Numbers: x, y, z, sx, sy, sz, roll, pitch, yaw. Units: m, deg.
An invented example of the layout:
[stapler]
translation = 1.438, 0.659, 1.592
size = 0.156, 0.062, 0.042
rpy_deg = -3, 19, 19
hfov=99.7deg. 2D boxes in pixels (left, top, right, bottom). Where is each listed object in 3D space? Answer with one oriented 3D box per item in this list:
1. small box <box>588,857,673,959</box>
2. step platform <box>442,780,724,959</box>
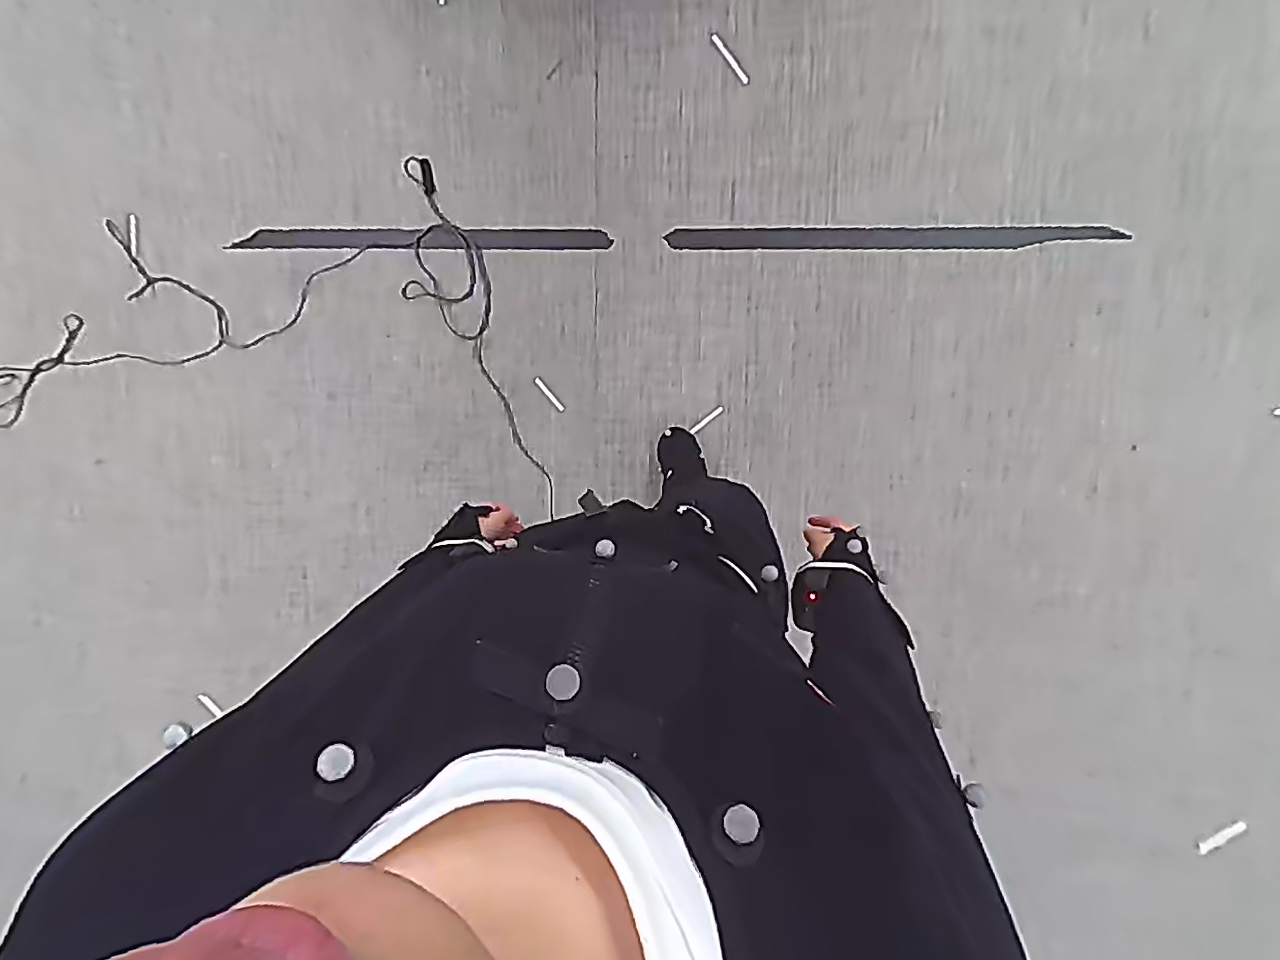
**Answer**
[small box]
translation = -0.016, 0.956, 1.156
size = 0.168, 0.176, 0.179
rpy_deg = 3, 94, 4
[step platform]
translation = -0.135, 0.961, 1.342
size = 0.684, 0.204, 0.286
rpy_deg = 1, 94, 4
